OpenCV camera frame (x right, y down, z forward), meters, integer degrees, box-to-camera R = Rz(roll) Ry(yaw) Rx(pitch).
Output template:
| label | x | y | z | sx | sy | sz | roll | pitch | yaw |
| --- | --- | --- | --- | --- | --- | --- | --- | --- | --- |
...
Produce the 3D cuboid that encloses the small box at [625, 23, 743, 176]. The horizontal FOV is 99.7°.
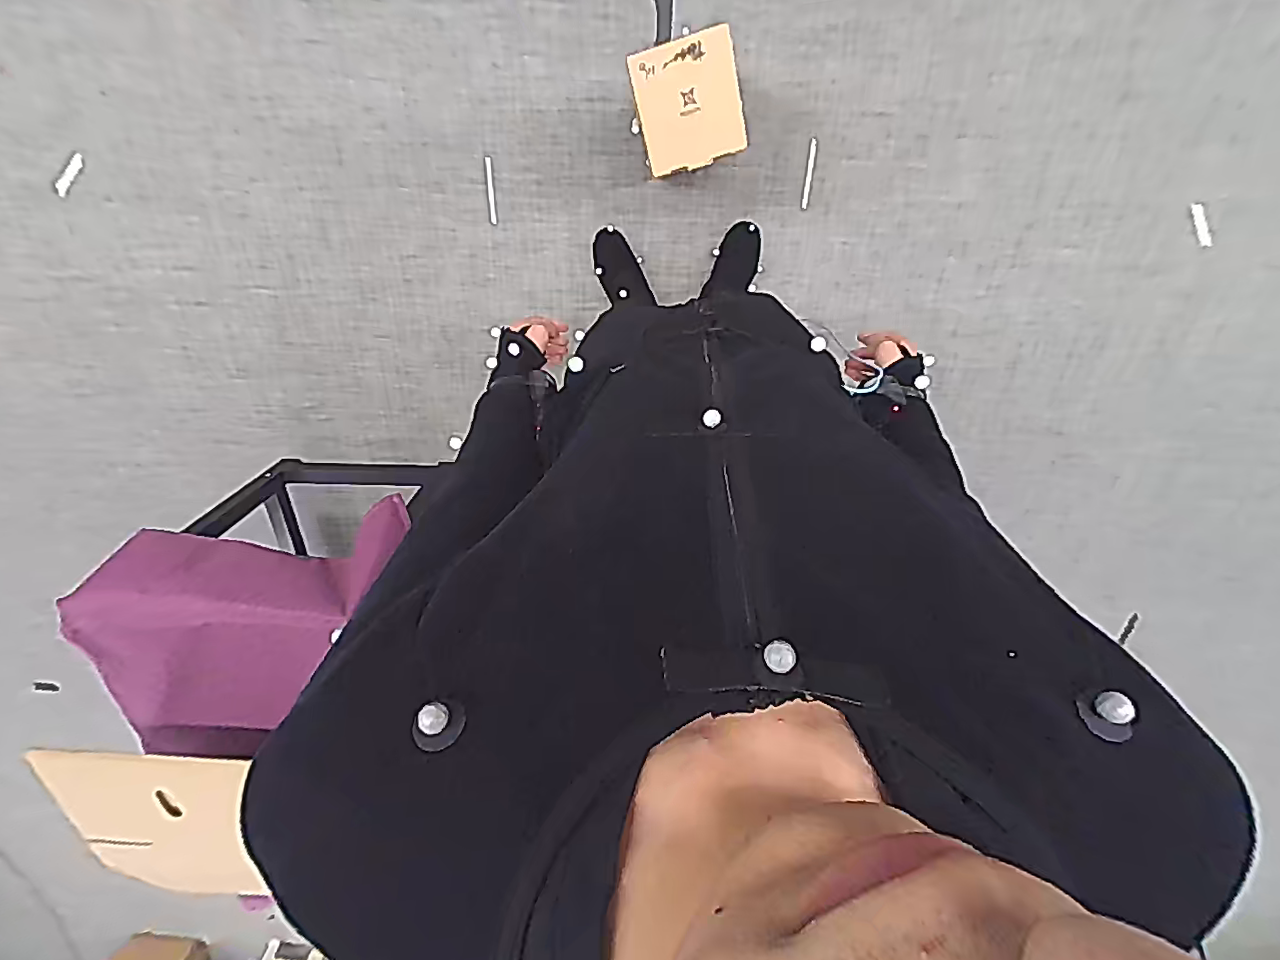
| label | x | y | z | sx | sy | sz | roll | pitch | yaw |
| --- | --- | --- | --- | --- | --- | --- | --- | --- | --- |
| small box | 0.077 | -0.653 | 0.949 | 0.168 | 0.176 | 0.179 | -13 | 118 | 8 |
